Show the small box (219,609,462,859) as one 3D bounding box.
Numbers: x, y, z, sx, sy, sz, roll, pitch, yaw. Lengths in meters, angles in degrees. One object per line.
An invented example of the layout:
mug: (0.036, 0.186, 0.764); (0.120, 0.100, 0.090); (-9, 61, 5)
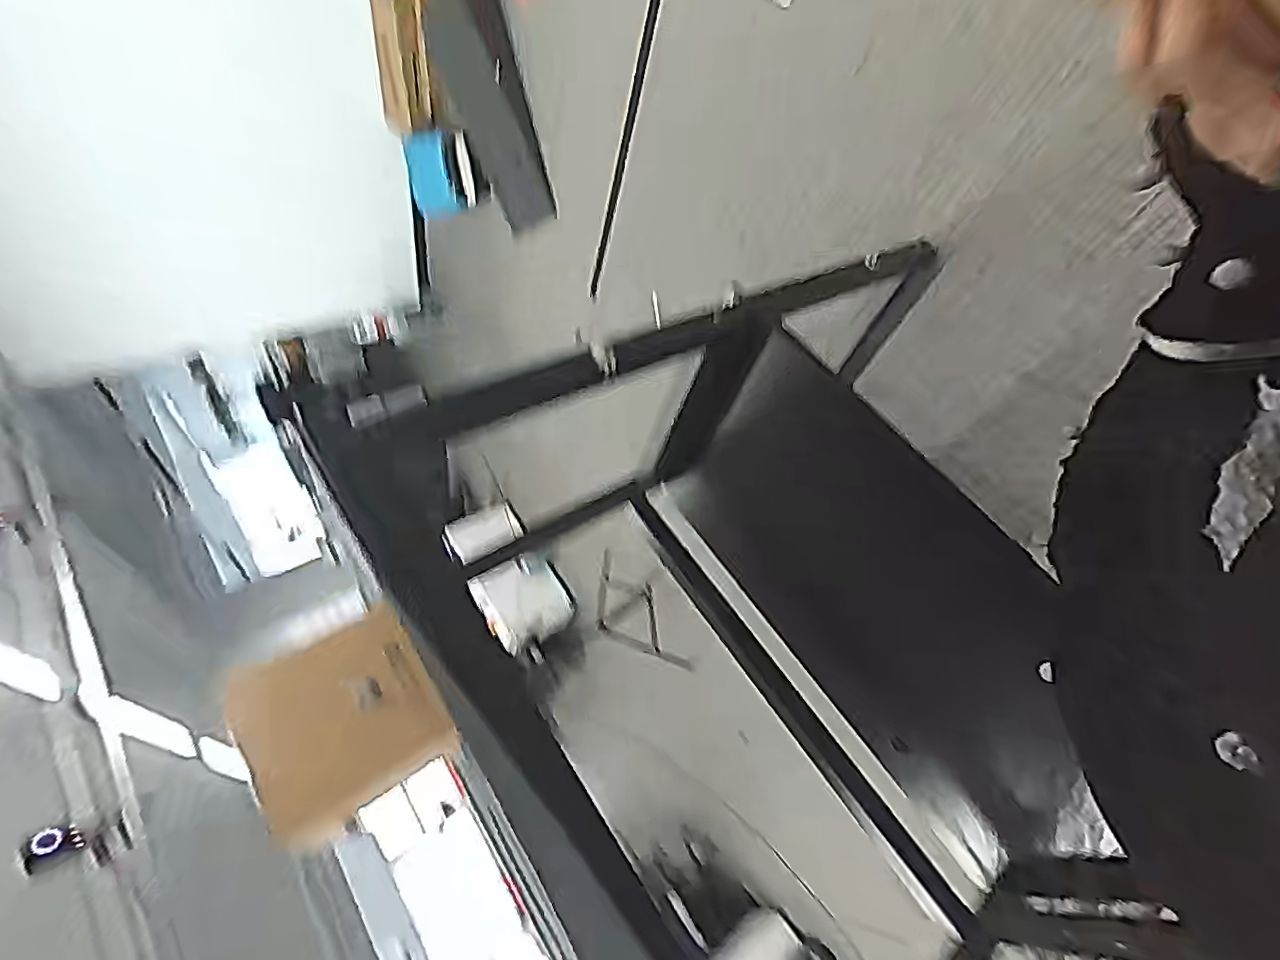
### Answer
small box: (-0.308, 0.273, 0.593); (0.168, 0.176, 0.179); (51, 148, 18)
